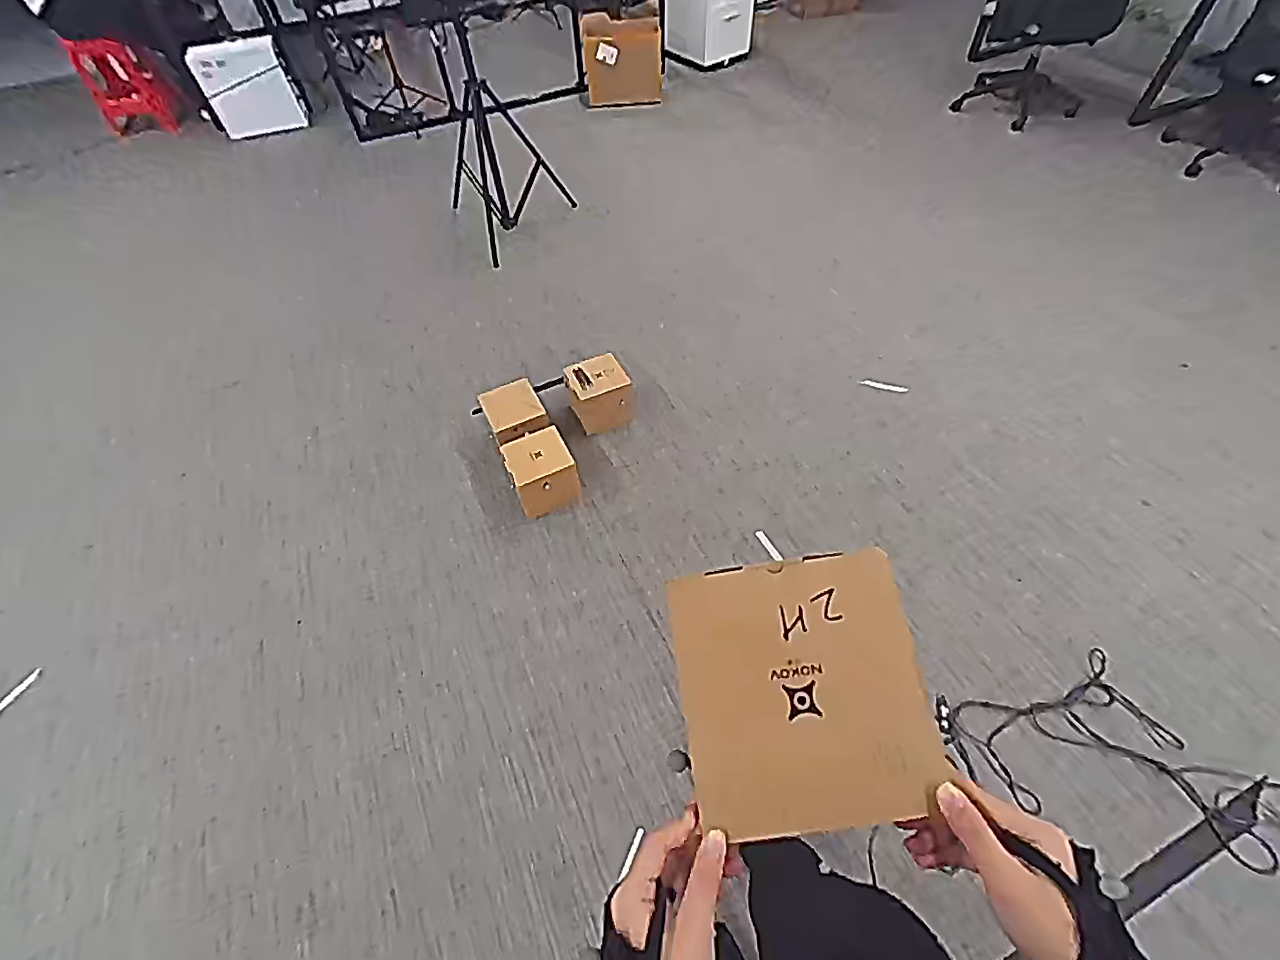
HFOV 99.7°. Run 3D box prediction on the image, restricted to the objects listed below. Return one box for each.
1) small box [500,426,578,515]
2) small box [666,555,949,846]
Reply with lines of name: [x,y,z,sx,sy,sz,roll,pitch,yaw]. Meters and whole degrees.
small box: [-0.292,-0.026,1.604,0.179,0.176,0.168,-23,57,-13]
small box: [0.116,0.170,0.452,0.168,0.176,0.179,-8,72,1]
